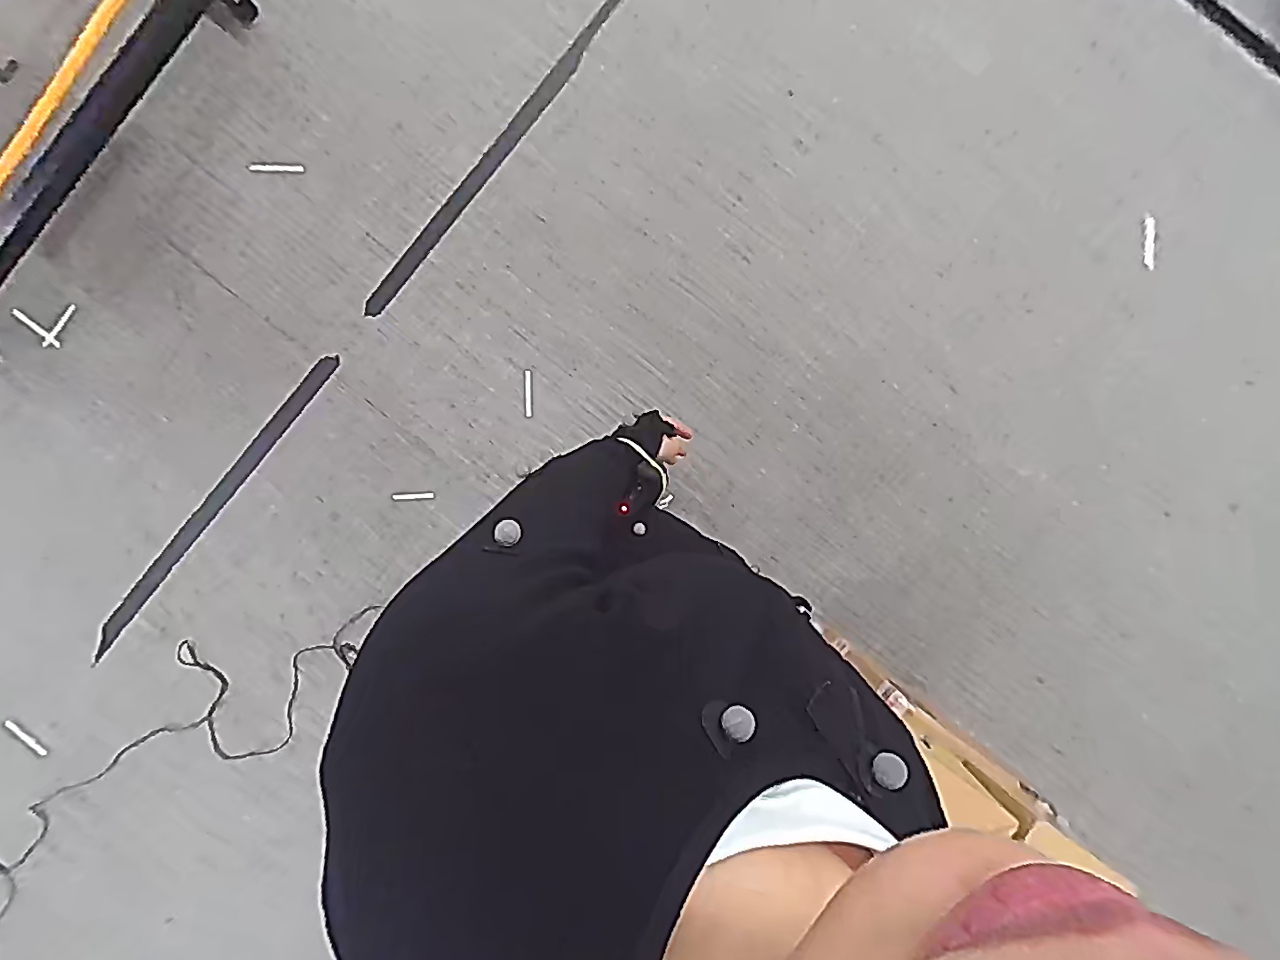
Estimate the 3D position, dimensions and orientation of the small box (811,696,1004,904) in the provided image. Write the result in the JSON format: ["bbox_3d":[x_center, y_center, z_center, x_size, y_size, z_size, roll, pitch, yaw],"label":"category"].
[{"bbox_3d":[0.396,0.475,0.821,0.168,0.176,0.179,36,92,3],"label":"small box"}]
